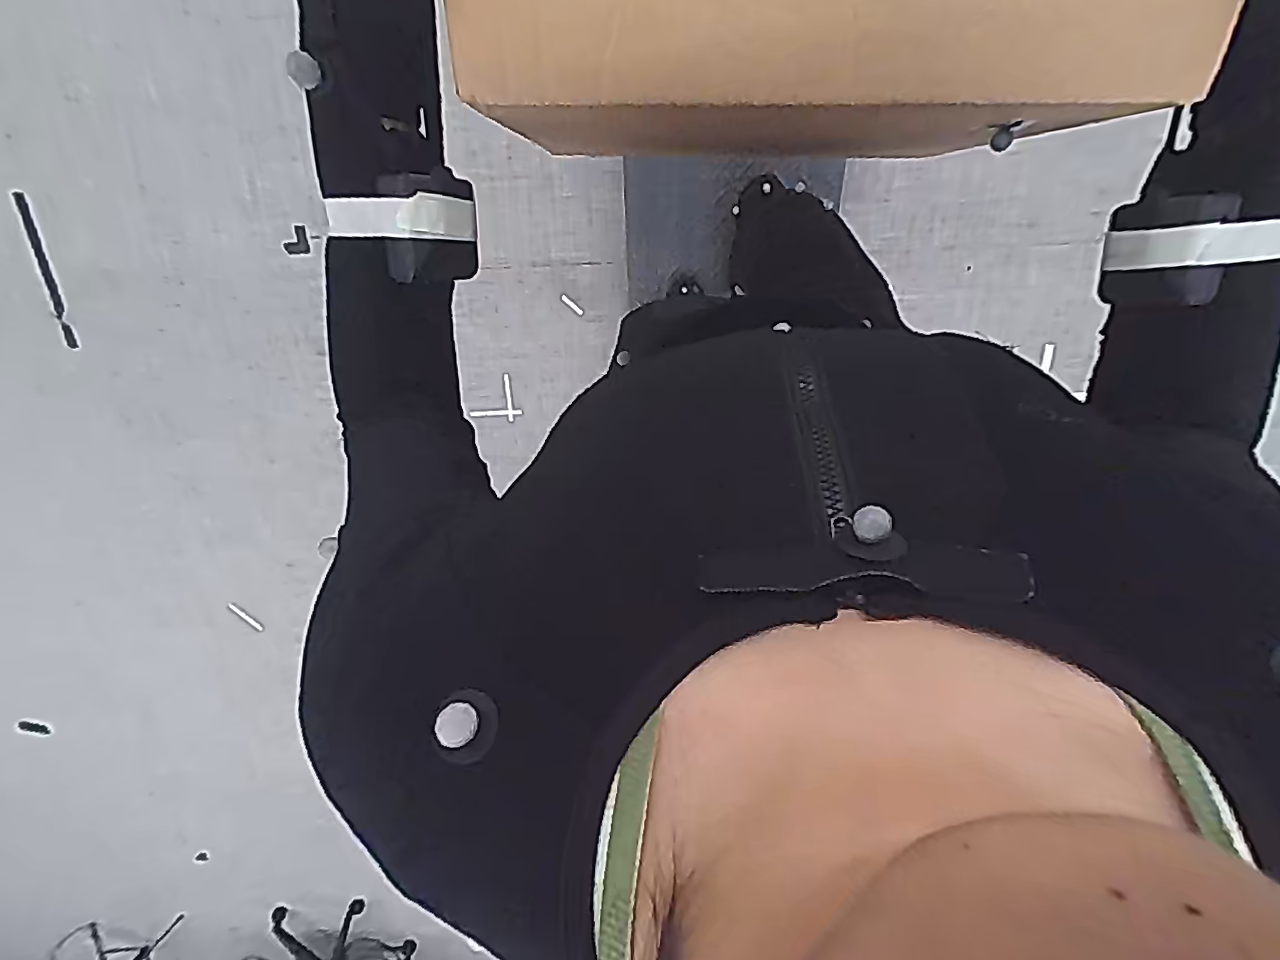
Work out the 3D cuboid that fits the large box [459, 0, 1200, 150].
[{"bbox_3d":[0.103,-0.420,0.372,0.408,0.320,0.320,0,116,1],"label":"large box"}]
